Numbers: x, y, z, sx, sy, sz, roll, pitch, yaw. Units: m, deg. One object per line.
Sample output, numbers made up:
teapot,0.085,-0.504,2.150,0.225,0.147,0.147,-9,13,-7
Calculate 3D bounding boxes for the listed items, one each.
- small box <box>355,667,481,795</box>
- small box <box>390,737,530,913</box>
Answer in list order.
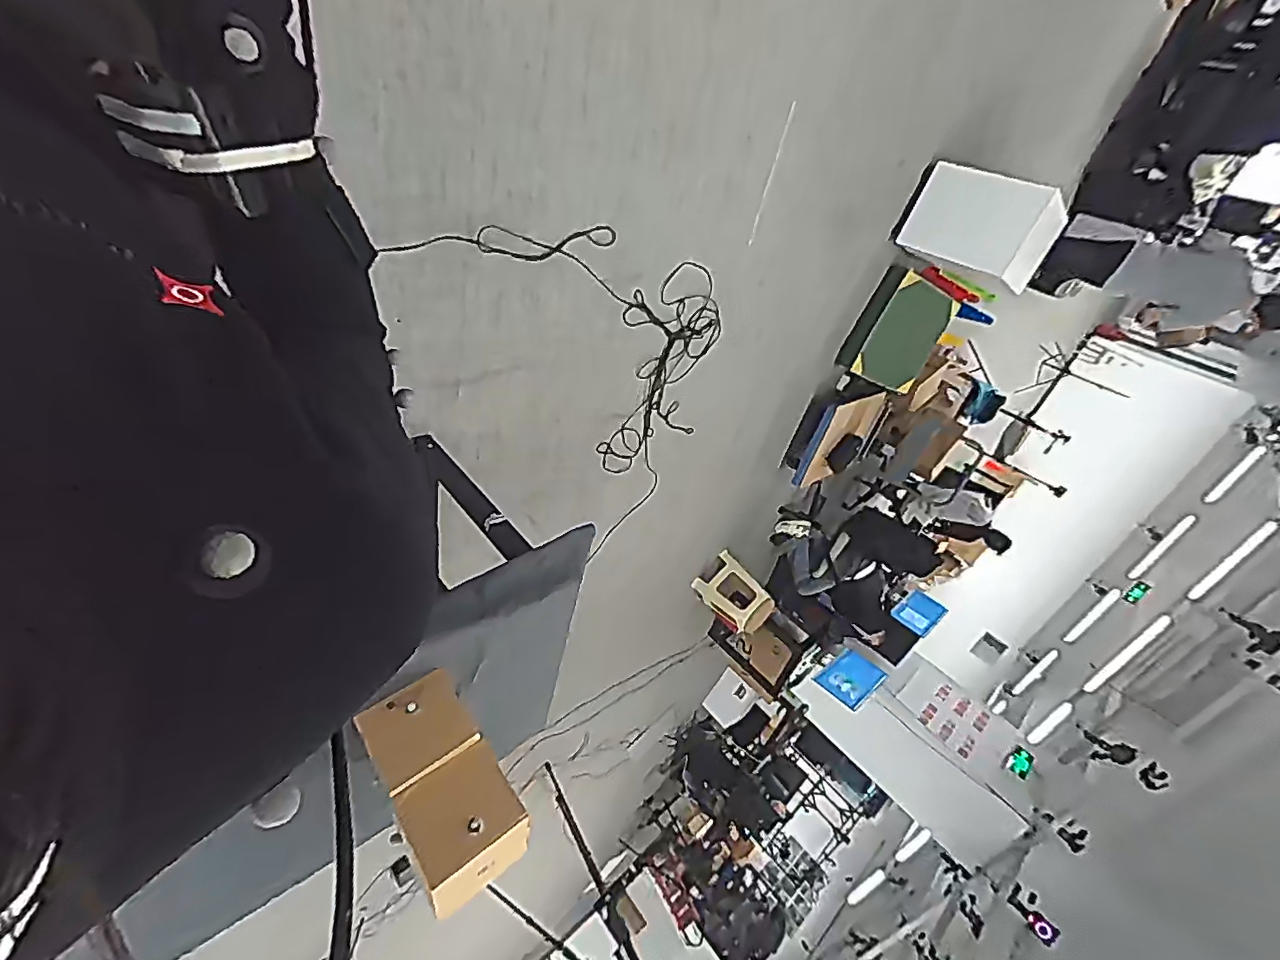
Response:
small box,-0.417,0.497,1.037,0.168,0.176,0.179,-26,141,-34
small box,-0.317,0.599,0.958,0.179,0.176,0.168,-22,137,-36
